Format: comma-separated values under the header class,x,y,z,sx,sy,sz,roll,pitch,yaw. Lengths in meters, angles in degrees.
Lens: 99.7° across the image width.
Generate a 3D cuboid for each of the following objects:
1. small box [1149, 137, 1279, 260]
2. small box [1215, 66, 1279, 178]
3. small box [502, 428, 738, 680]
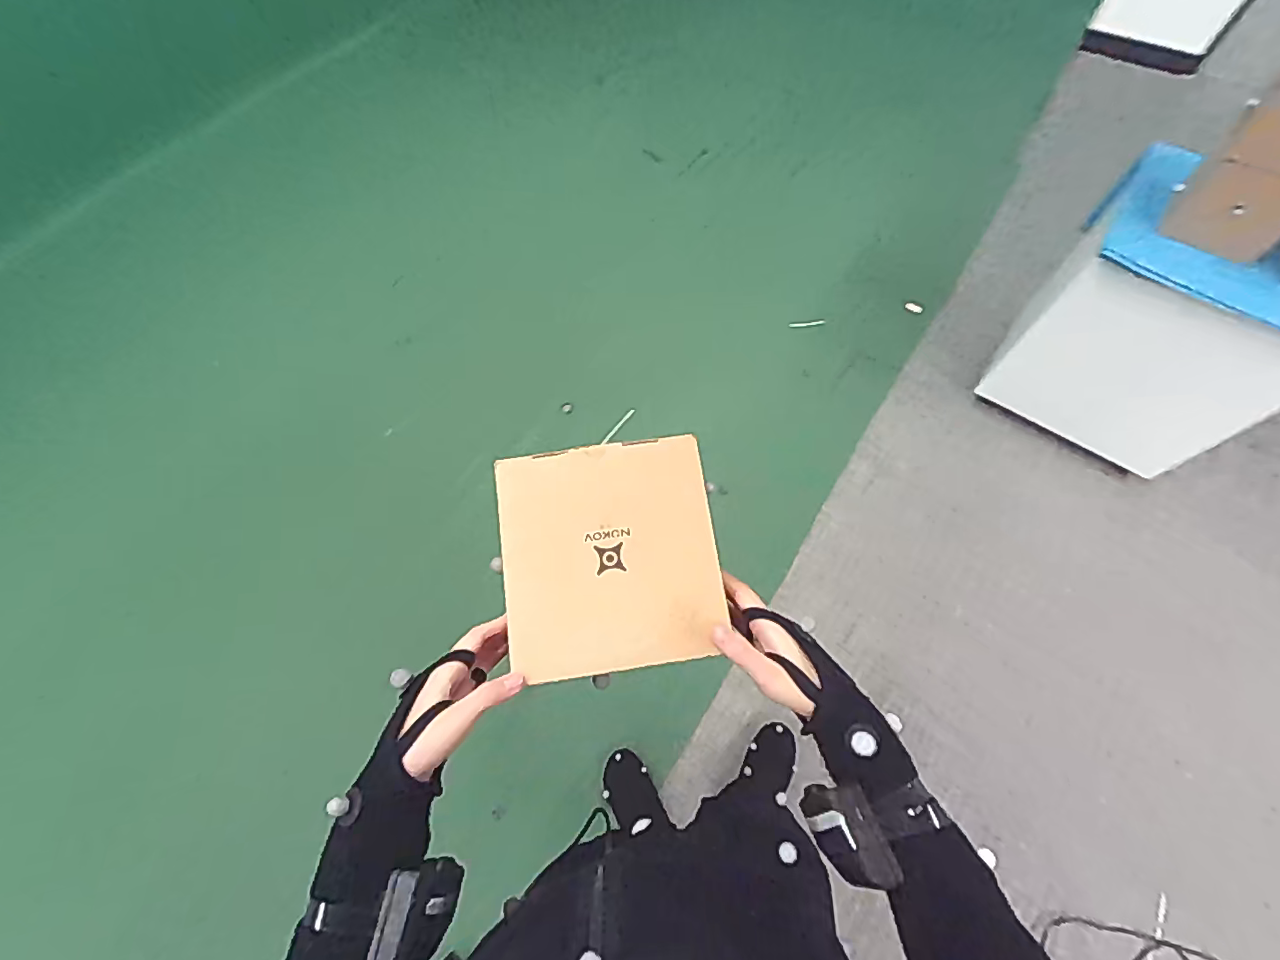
class,x,y,z,sx,sy,sz,roll,pitch,yaw
small box,1.200,-0.576,1.088,0.179,0.176,0.168,32,68,16
small box,1.188,-0.652,0.942,0.179,0.176,0.168,32,68,16
small box,-0.020,0.072,0.486,0.168,0.176,0.179,-7,73,-4
